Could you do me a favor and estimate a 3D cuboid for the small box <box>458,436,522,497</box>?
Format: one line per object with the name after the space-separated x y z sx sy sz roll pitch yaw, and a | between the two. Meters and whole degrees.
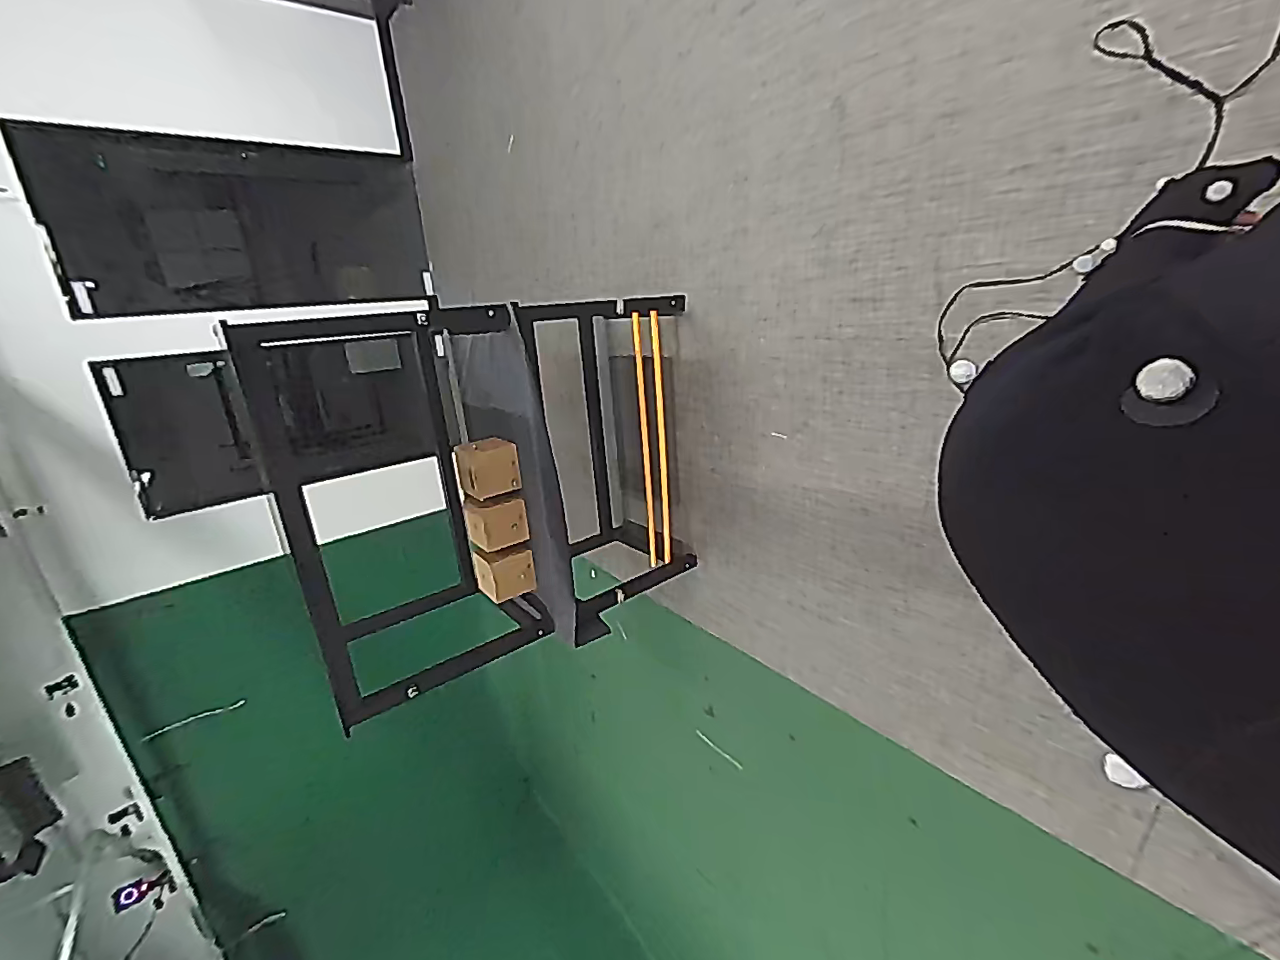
-0.534 -0.055 1.951 0.179 0.176 0.168 20 120 50 | small box
